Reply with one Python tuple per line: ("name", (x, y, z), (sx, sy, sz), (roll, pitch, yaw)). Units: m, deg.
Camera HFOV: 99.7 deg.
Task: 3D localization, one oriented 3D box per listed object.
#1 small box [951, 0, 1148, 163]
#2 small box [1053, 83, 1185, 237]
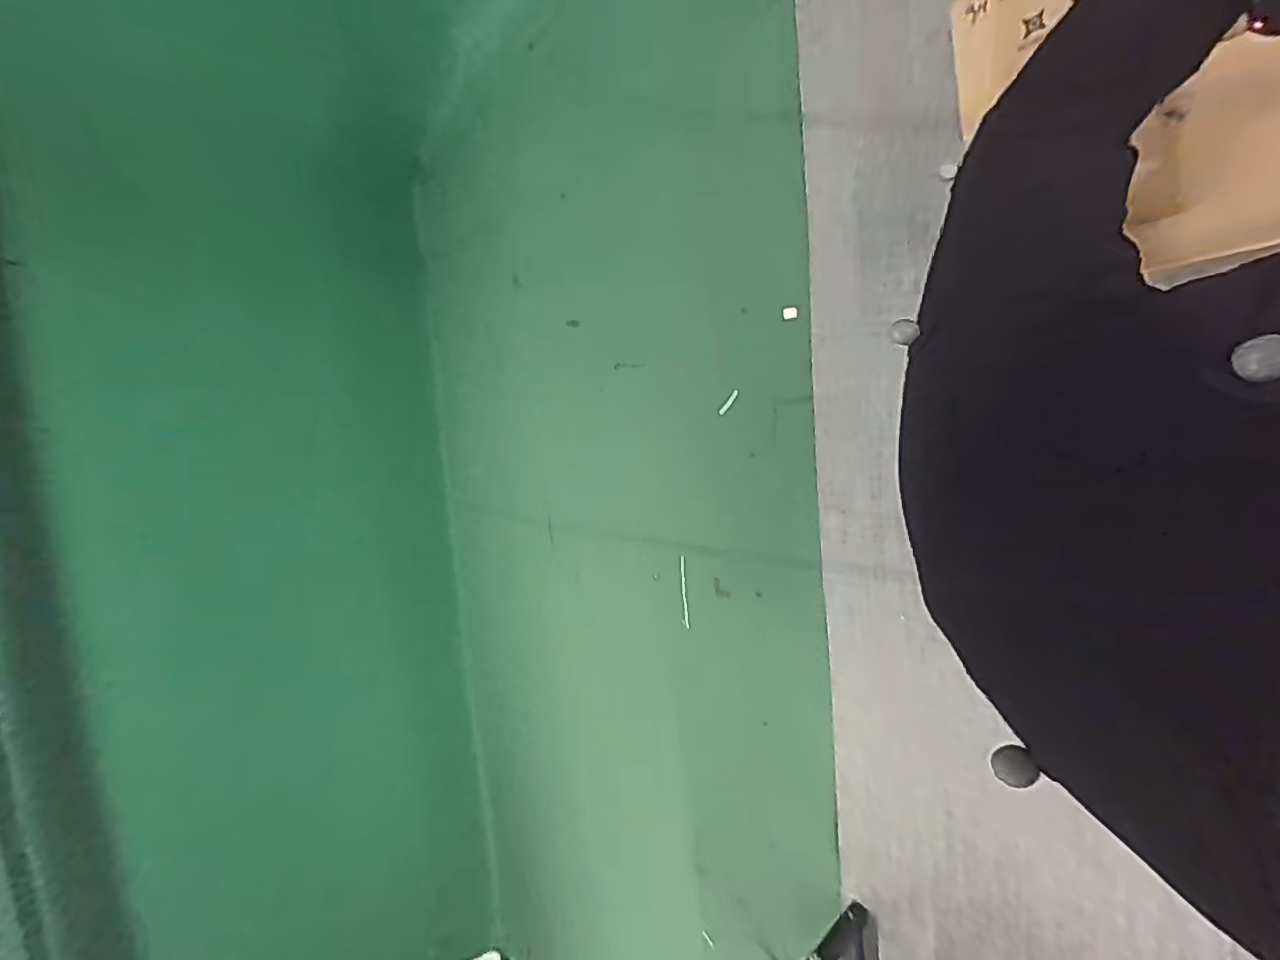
("small box", (0.517, -0.530, 0.681), (0.168, 0.176, 0.179), (-4, 95, 48))
("small box", (0.885, -0.576, 1.002), (0.168, 0.176, 0.179), (1, 98, 49))
